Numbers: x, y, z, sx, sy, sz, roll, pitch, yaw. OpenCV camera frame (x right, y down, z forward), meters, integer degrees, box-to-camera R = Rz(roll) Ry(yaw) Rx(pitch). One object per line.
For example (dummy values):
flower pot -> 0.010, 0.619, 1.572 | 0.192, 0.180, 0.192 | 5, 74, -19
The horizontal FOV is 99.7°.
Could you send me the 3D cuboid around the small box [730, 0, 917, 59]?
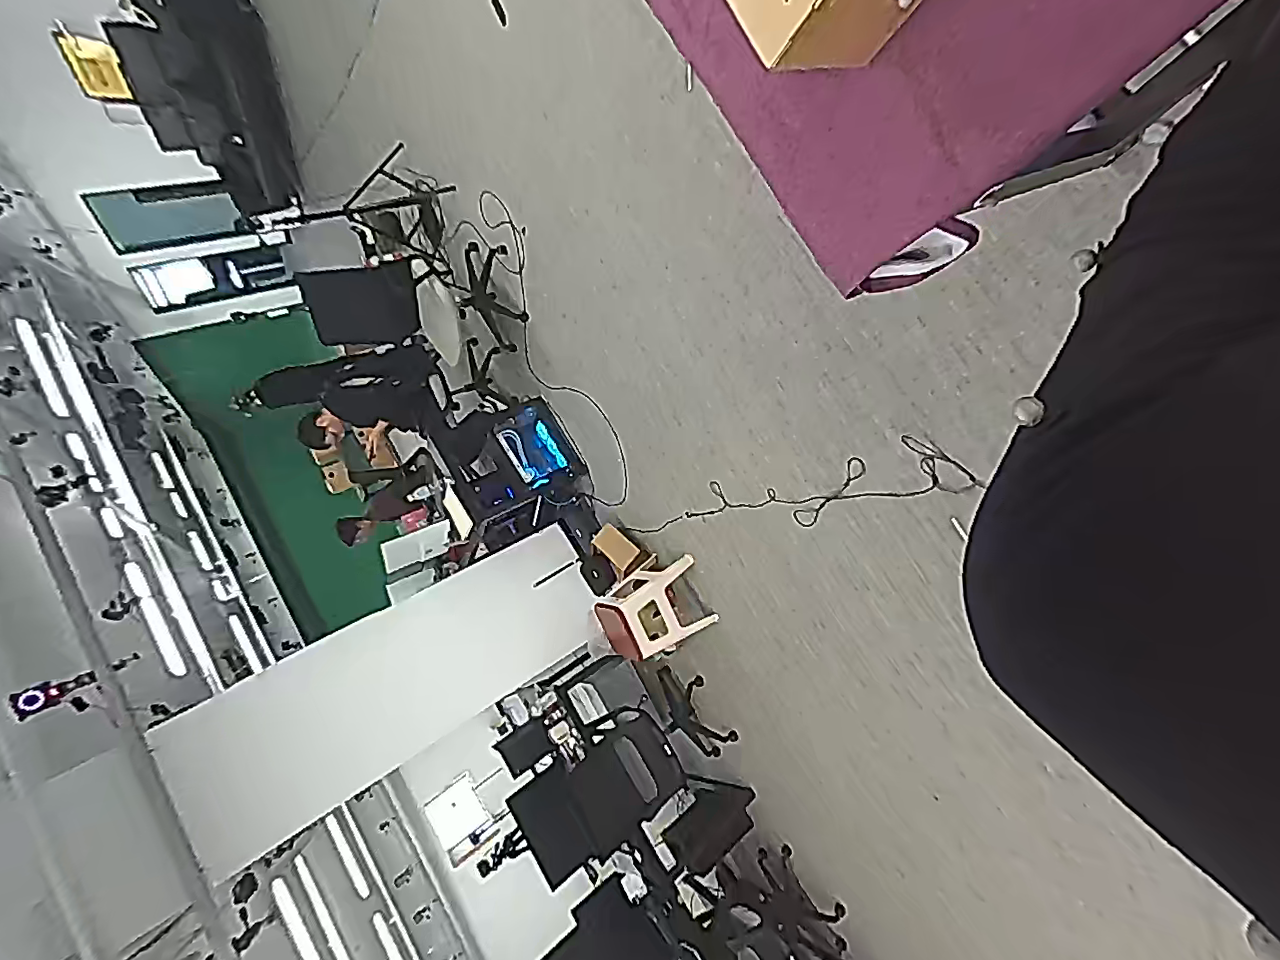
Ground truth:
small box -> 0.177, -0.522, 0.484 | 0.179, 0.176, 0.168 | 61, 151, 1
